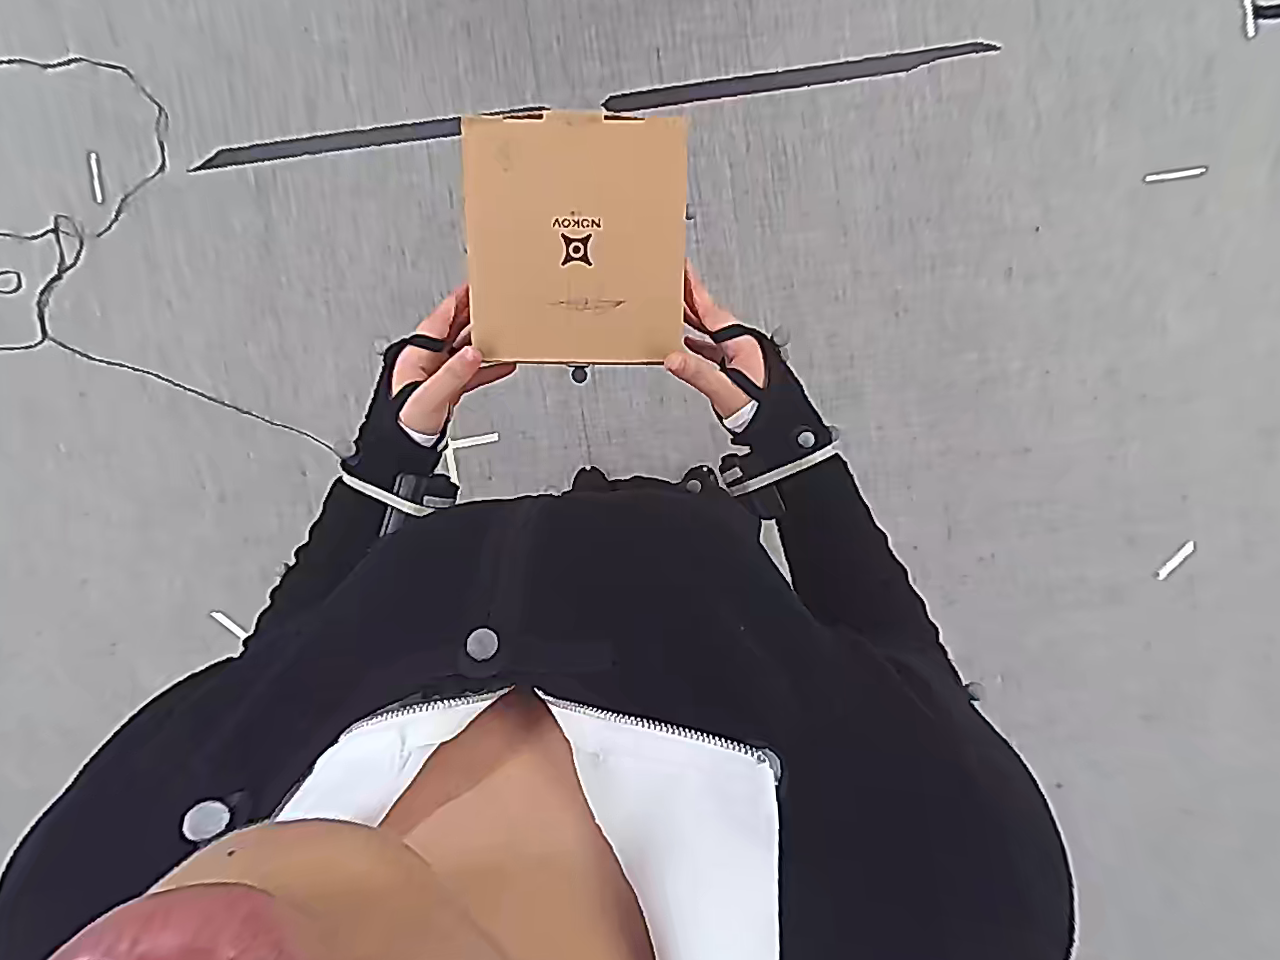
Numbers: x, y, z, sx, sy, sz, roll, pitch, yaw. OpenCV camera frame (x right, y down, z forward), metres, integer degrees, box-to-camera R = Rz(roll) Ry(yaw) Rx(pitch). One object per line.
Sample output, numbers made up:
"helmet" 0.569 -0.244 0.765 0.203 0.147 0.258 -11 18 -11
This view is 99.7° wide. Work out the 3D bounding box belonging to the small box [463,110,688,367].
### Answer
"small box" -0.050 -0.194 0.484 0.168 0.176 0.179 1 102 0
